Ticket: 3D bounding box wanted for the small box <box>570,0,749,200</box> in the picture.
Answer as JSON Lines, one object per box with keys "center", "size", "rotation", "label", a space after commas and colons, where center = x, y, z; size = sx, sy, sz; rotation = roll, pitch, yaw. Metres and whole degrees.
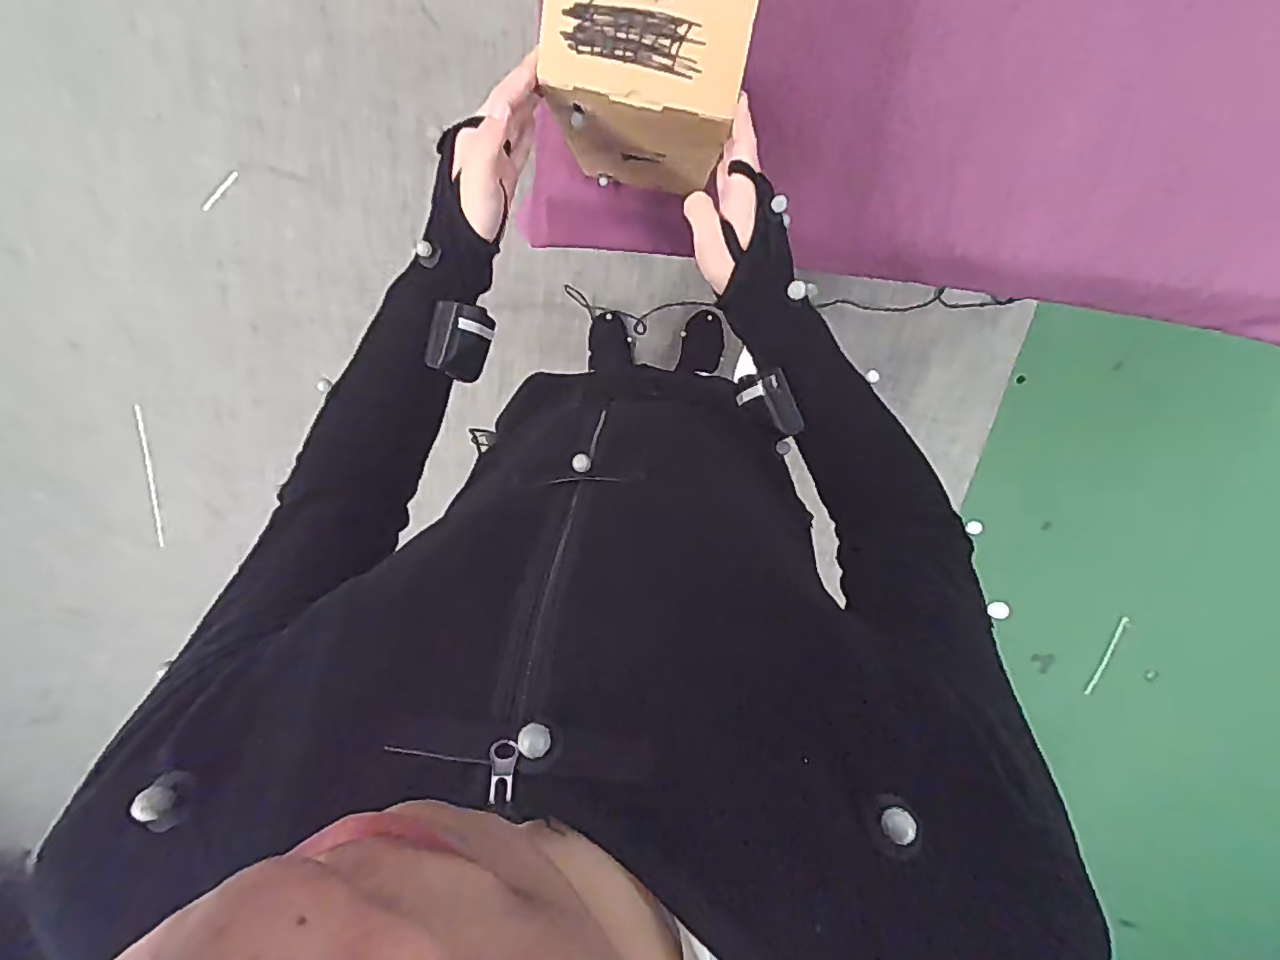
{"center": [0.019, -0.455, 0.649], "size": [0.168, 0.176, 0.179], "rotation": [10, 107, -2], "label": "small box"}
